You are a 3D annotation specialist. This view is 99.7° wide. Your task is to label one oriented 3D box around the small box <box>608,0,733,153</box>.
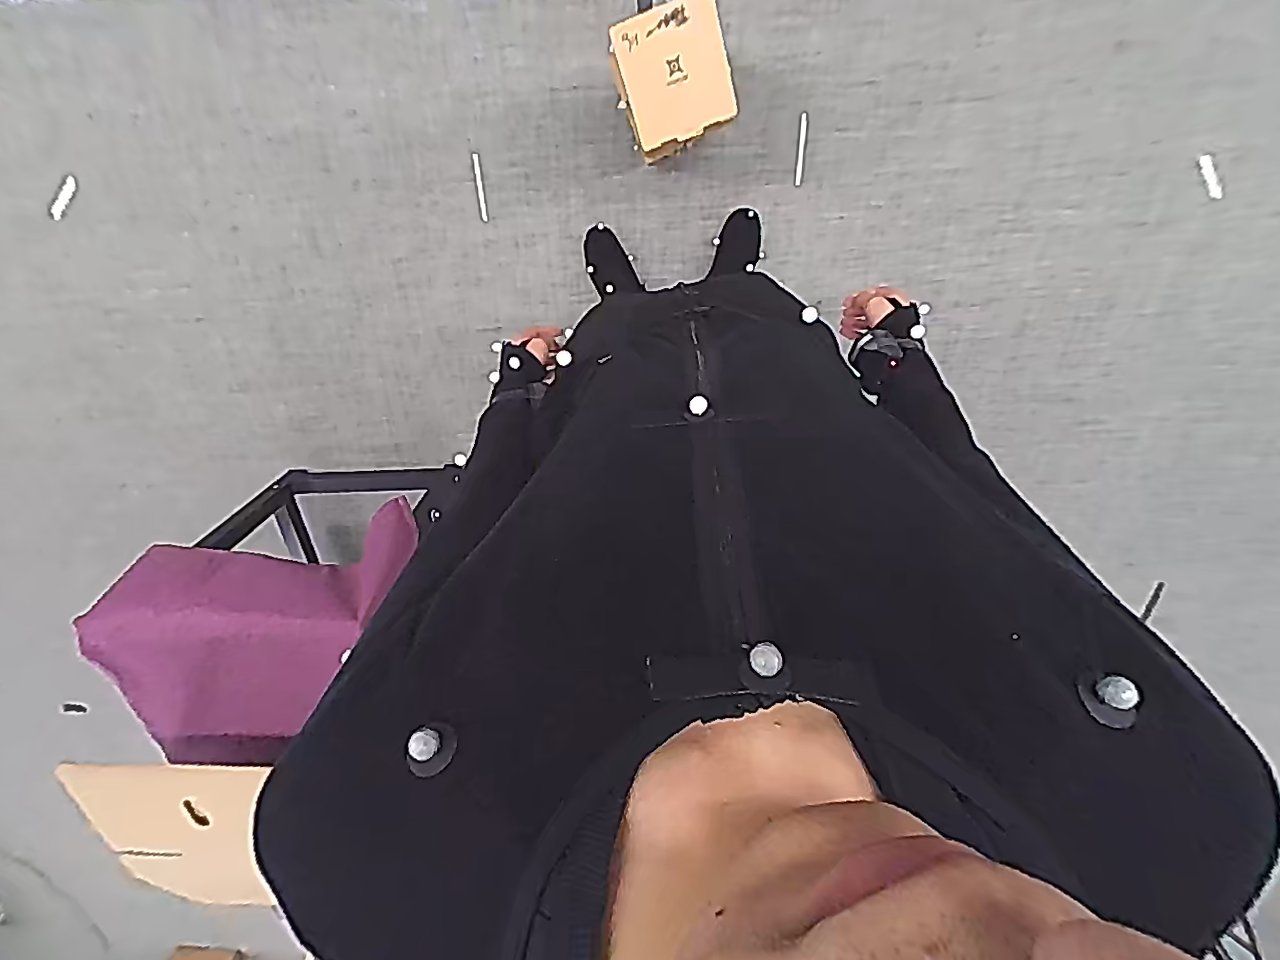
[{"bbox_3d":[0.053,-0.684,0.927,0.168,0.176,0.179,-16,118,9],"label":"small box"}]
